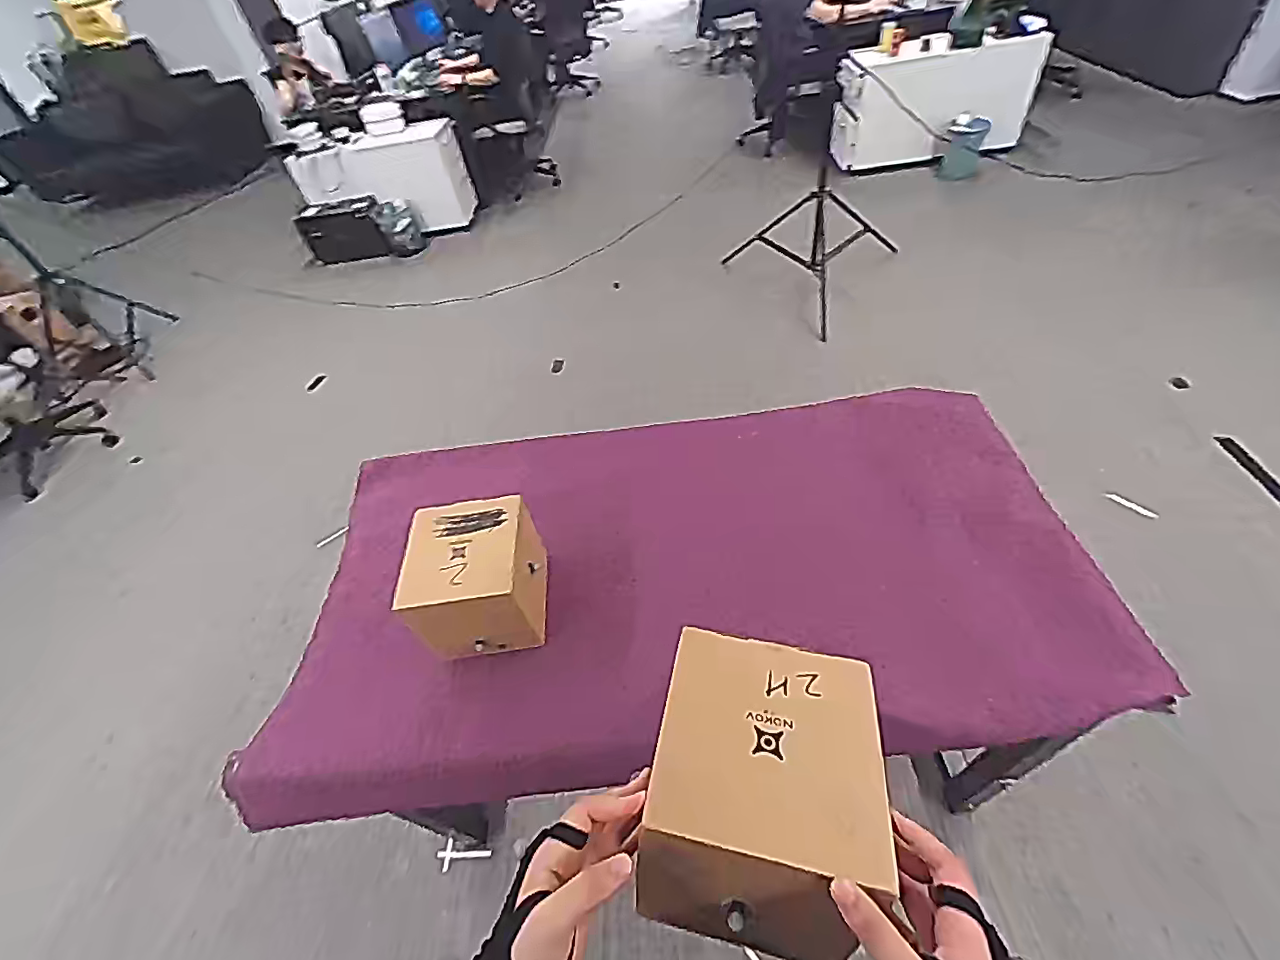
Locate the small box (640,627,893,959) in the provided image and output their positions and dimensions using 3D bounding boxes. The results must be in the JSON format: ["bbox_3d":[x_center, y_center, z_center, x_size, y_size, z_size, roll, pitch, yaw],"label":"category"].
[{"bbox_3d":[0.097,0.261,0.462,0.168,0.176,0.179,9,33,9],"label":"small box"}]
